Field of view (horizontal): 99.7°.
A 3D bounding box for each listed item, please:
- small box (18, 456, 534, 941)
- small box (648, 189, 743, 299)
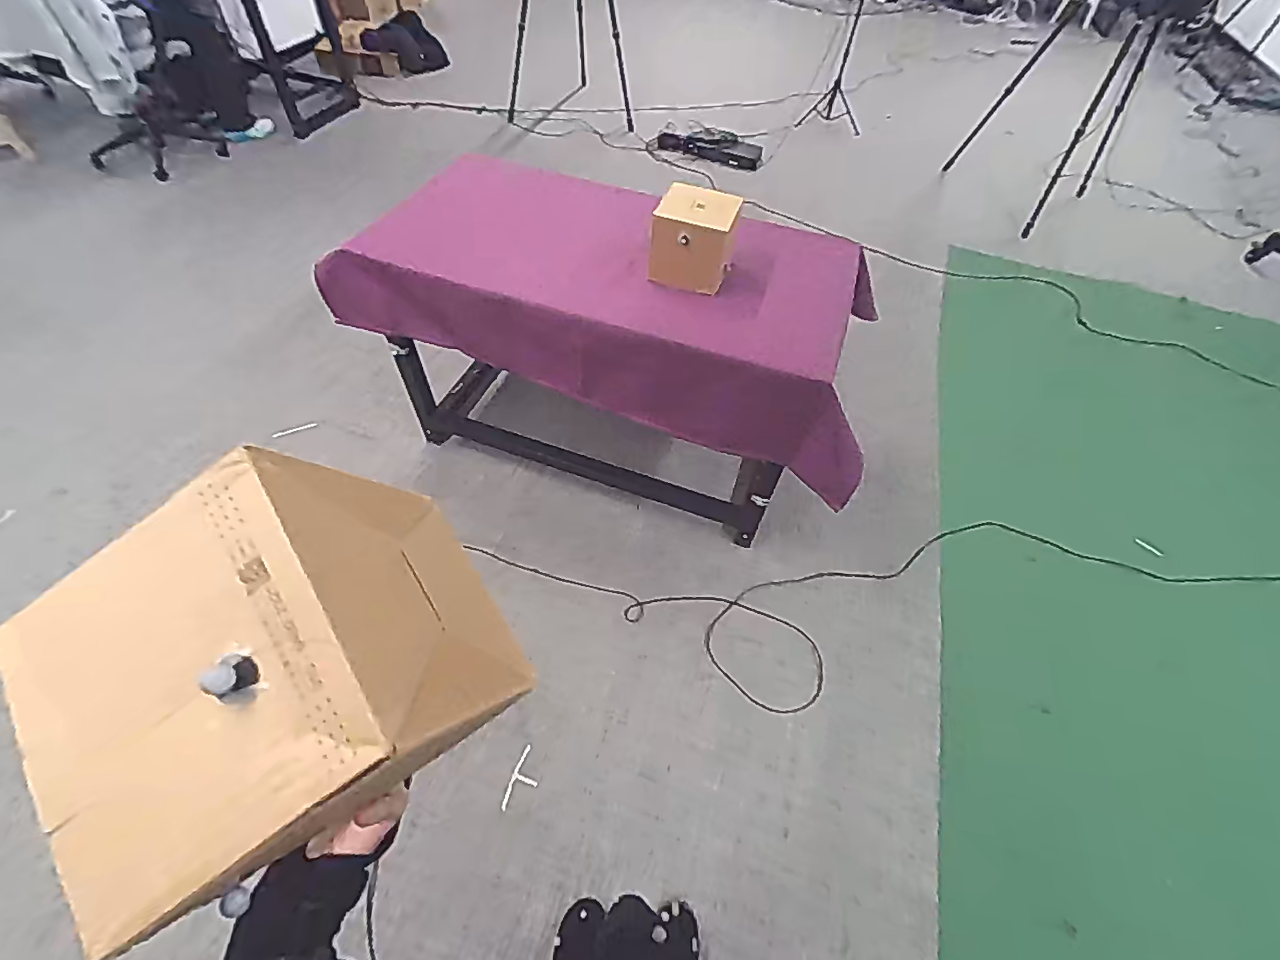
[{"bbox_3d":[-0.193,0.110,0.335,0.176,0.179,0.168,-36,75,1],"label":"small box"},{"bbox_3d":[0.128,-0.559,1.291,0.179,0.176,0.168,18,54,9],"label":"small box"}]
